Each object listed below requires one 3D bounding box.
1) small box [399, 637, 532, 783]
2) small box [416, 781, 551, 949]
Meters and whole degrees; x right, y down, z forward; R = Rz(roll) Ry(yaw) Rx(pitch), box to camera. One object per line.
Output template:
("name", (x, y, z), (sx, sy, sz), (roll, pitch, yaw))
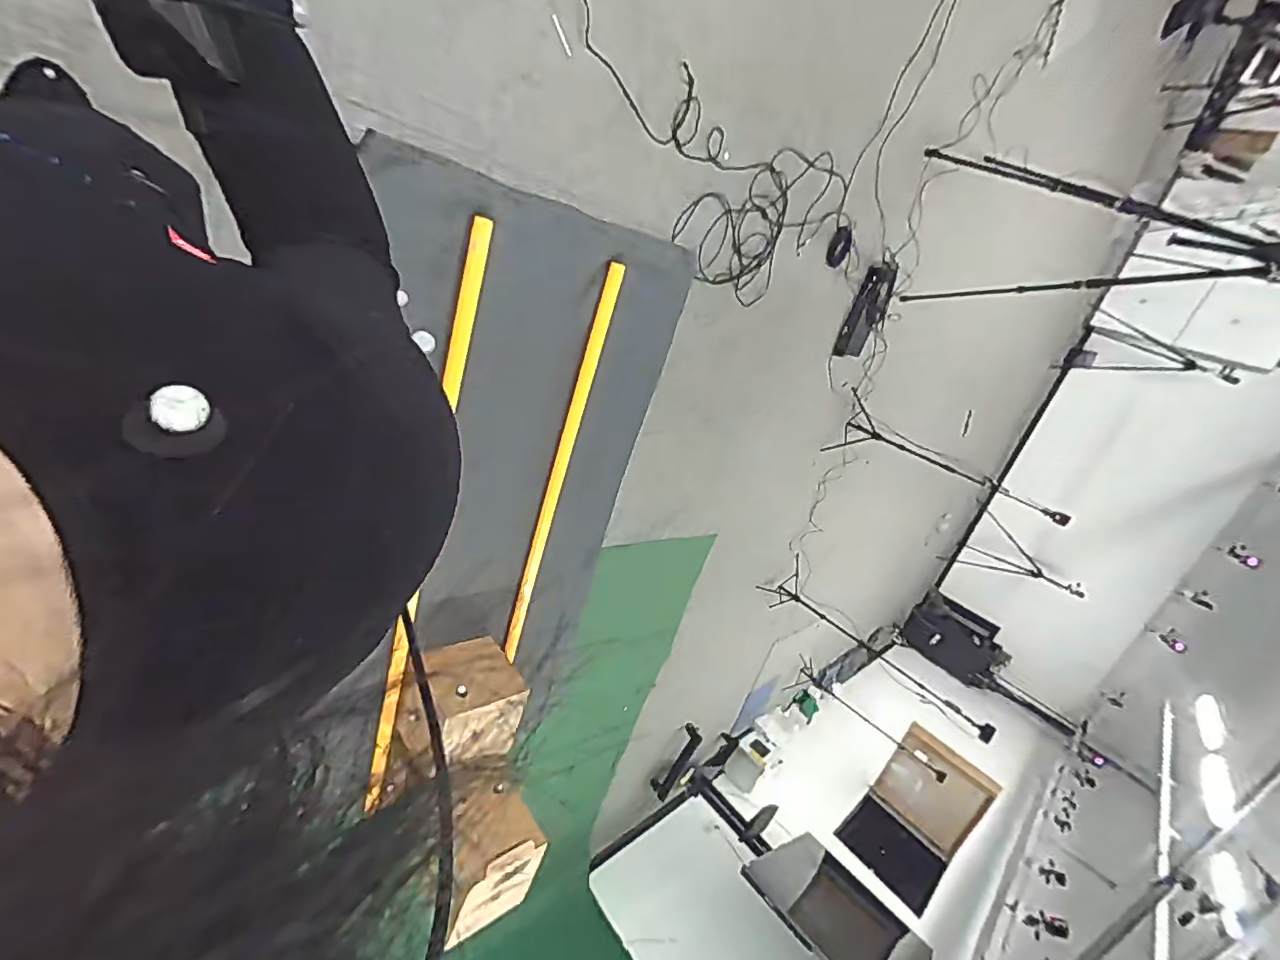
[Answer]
("small box", (-0.345, 0.434, 1.050), (0.179, 0.176, 0.168), (-1, 118, -47))
("small box", (-0.303, 0.712, 1.028), (0.168, 0.176, 0.179), (2, 115, -47))
